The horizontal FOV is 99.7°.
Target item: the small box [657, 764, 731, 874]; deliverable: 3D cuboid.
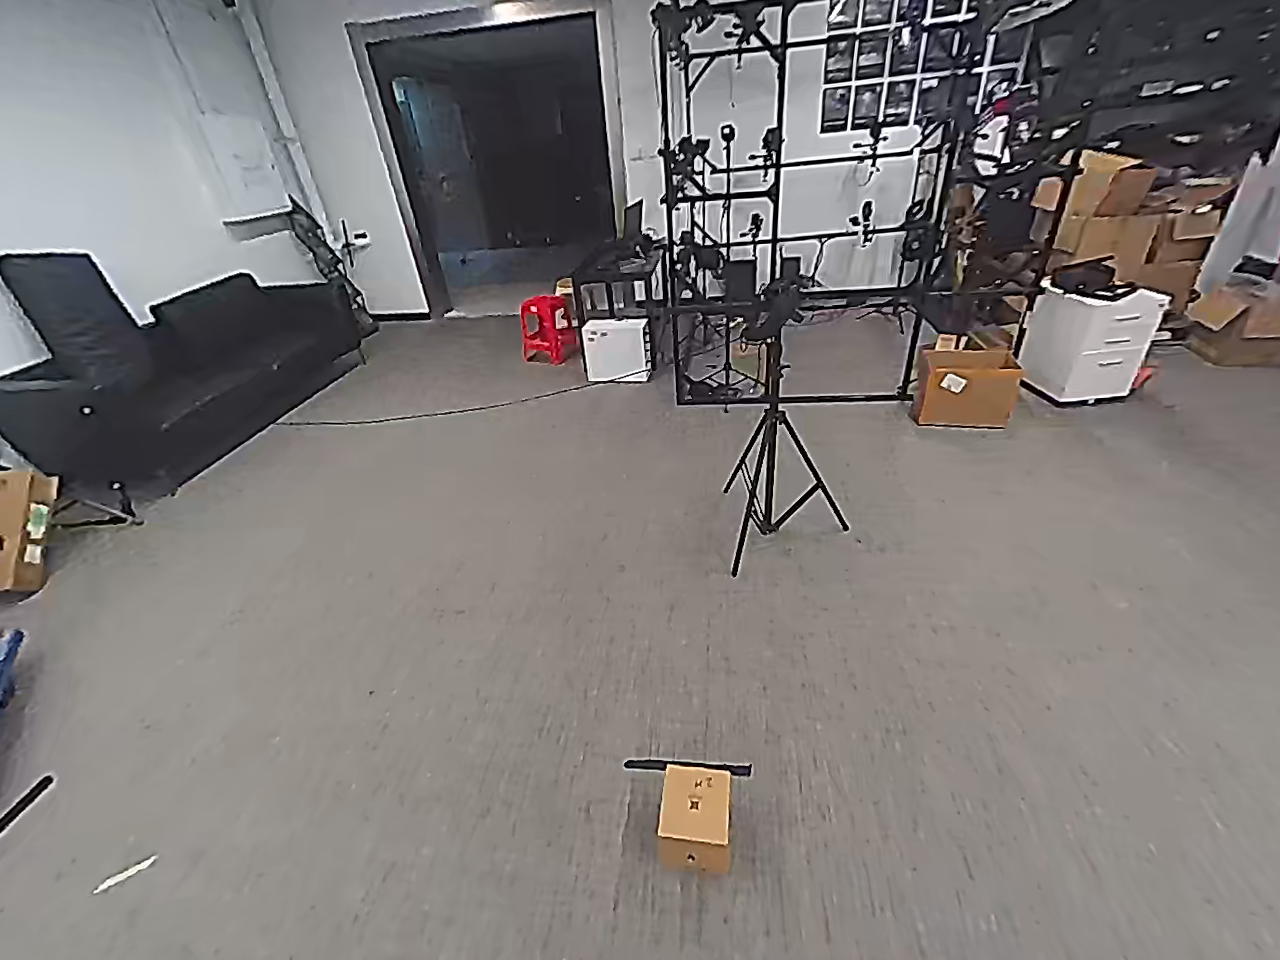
[{"bbox_3d":[0.143,0.854,1.363,0.168,0.176,0.179,2,33,11],"label":"small box"}]
